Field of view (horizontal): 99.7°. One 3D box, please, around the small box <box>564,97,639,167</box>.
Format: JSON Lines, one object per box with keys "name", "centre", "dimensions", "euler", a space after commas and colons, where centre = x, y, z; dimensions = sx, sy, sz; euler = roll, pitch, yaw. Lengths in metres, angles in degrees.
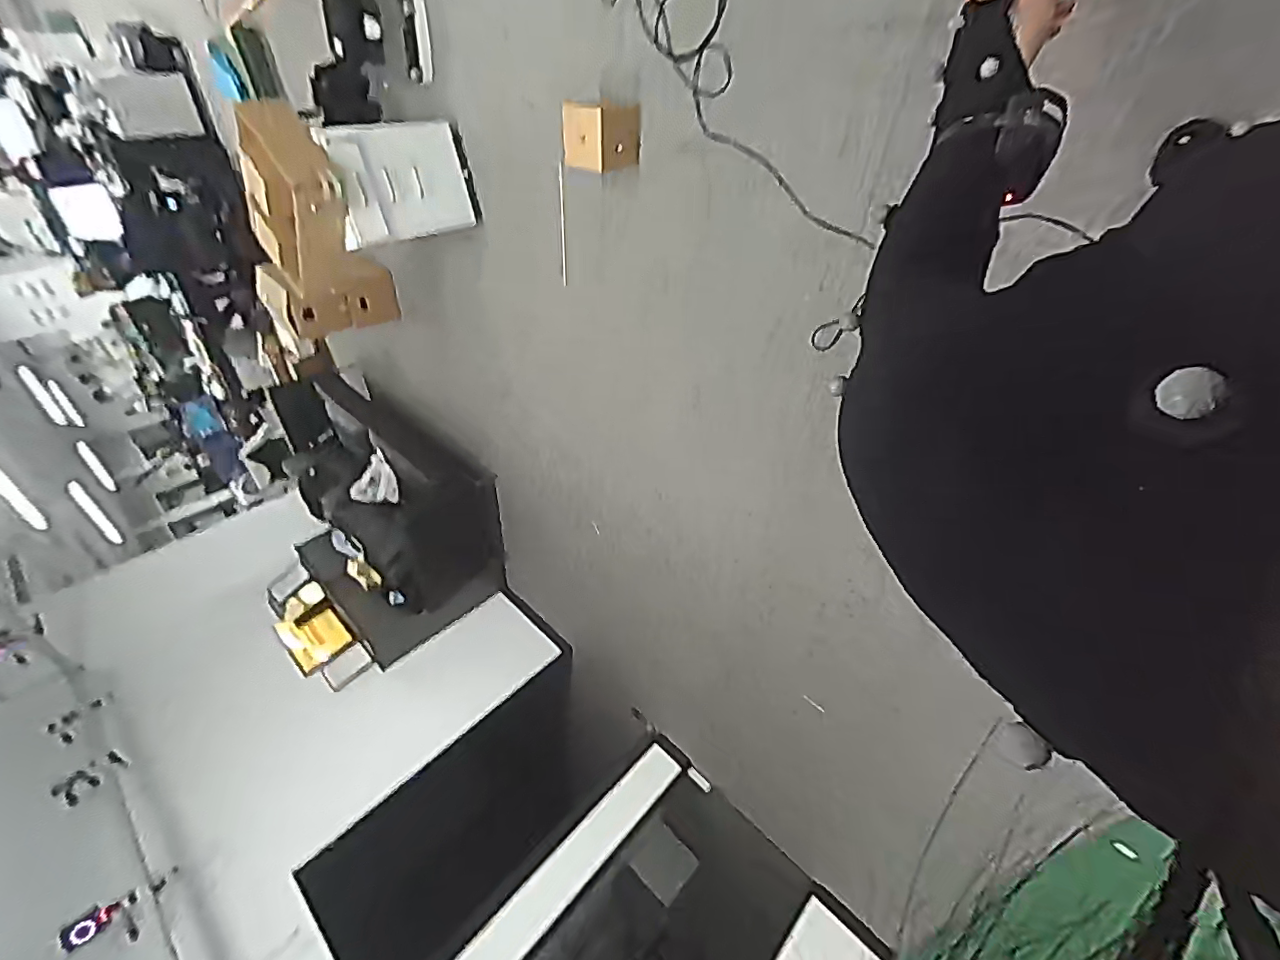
{"name": "small box", "centre": [-0.118, -1.109, 1.716], "dimensions": [0.179, 0.176, 0.168], "euler": [32, 138, 32]}
